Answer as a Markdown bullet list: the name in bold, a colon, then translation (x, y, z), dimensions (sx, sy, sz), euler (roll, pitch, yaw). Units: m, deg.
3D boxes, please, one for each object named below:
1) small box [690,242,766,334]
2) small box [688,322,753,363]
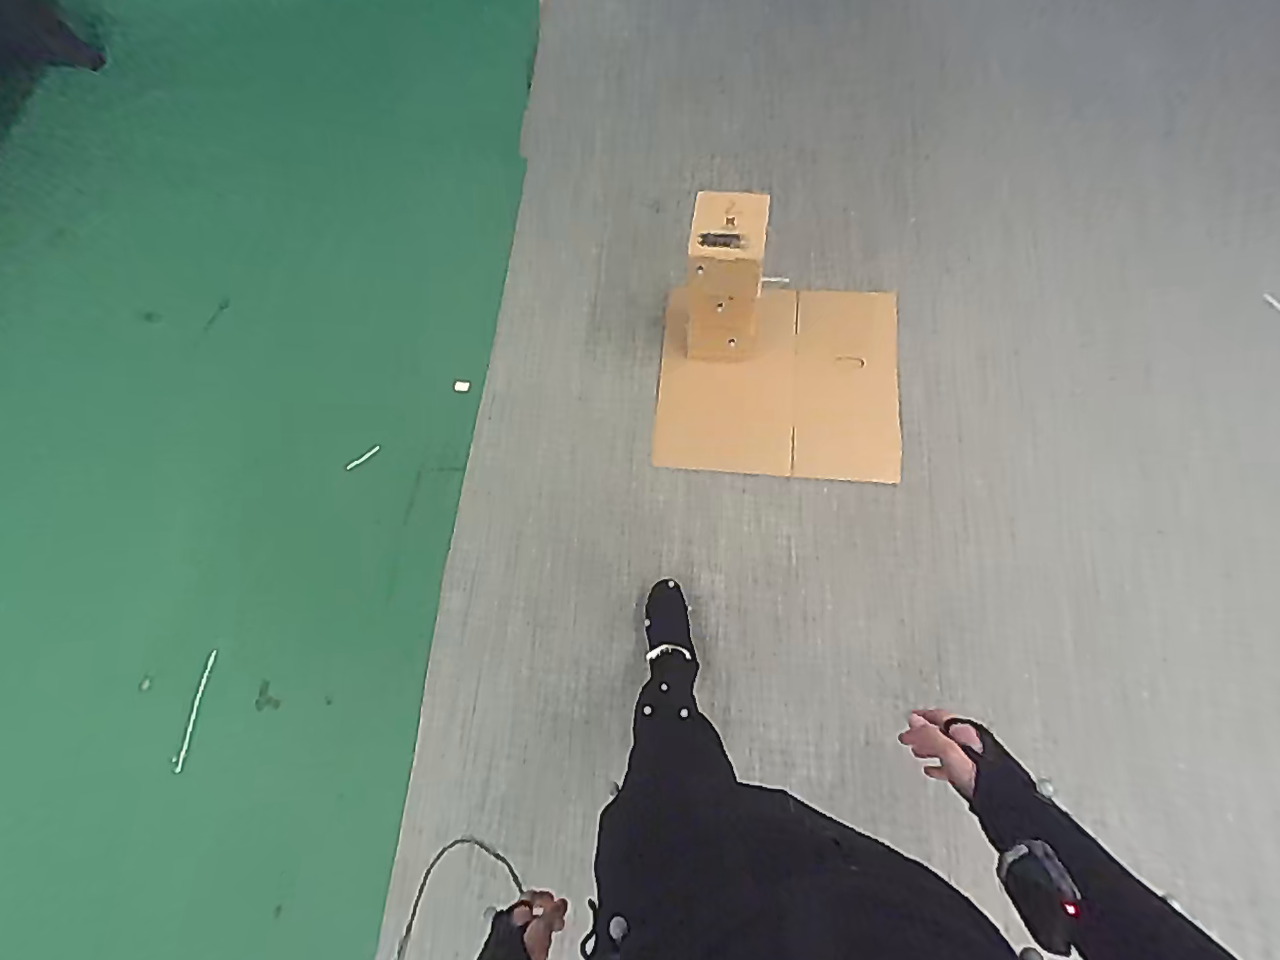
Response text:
- **small box**: translation (0.228, -0.499, 1.424), dimensions (0.179, 0.176, 0.168), euler (6, 75, 8)
- **small box**: translation (0.236, -0.456, 1.579), dimensions (0.179, 0.176, 0.168), euler (6, 74, 7)
